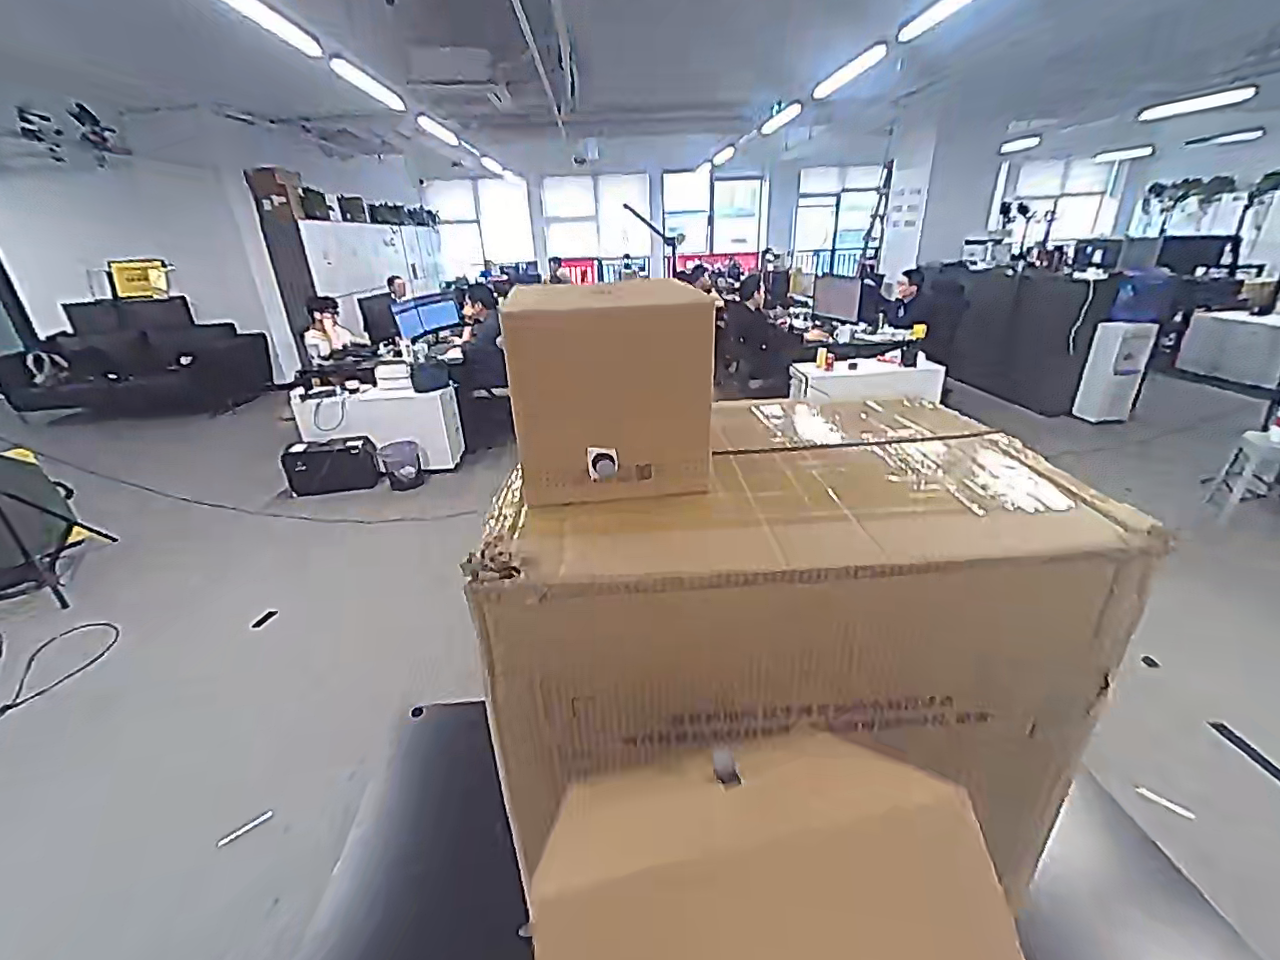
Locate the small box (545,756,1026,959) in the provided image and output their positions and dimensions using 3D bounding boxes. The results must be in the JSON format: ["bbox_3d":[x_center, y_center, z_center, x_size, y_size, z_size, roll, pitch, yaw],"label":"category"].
[{"bbox_3d":[0.057,0.238,0.244,0.168,0.179,0.176,-10,-19,-4],"label":"small box"}]

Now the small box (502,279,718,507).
[{"bbox_3d":[-0.030,-0.090,0.512,0.168,0.176,0.179,-6,27,-7],"label":"small box"}]
